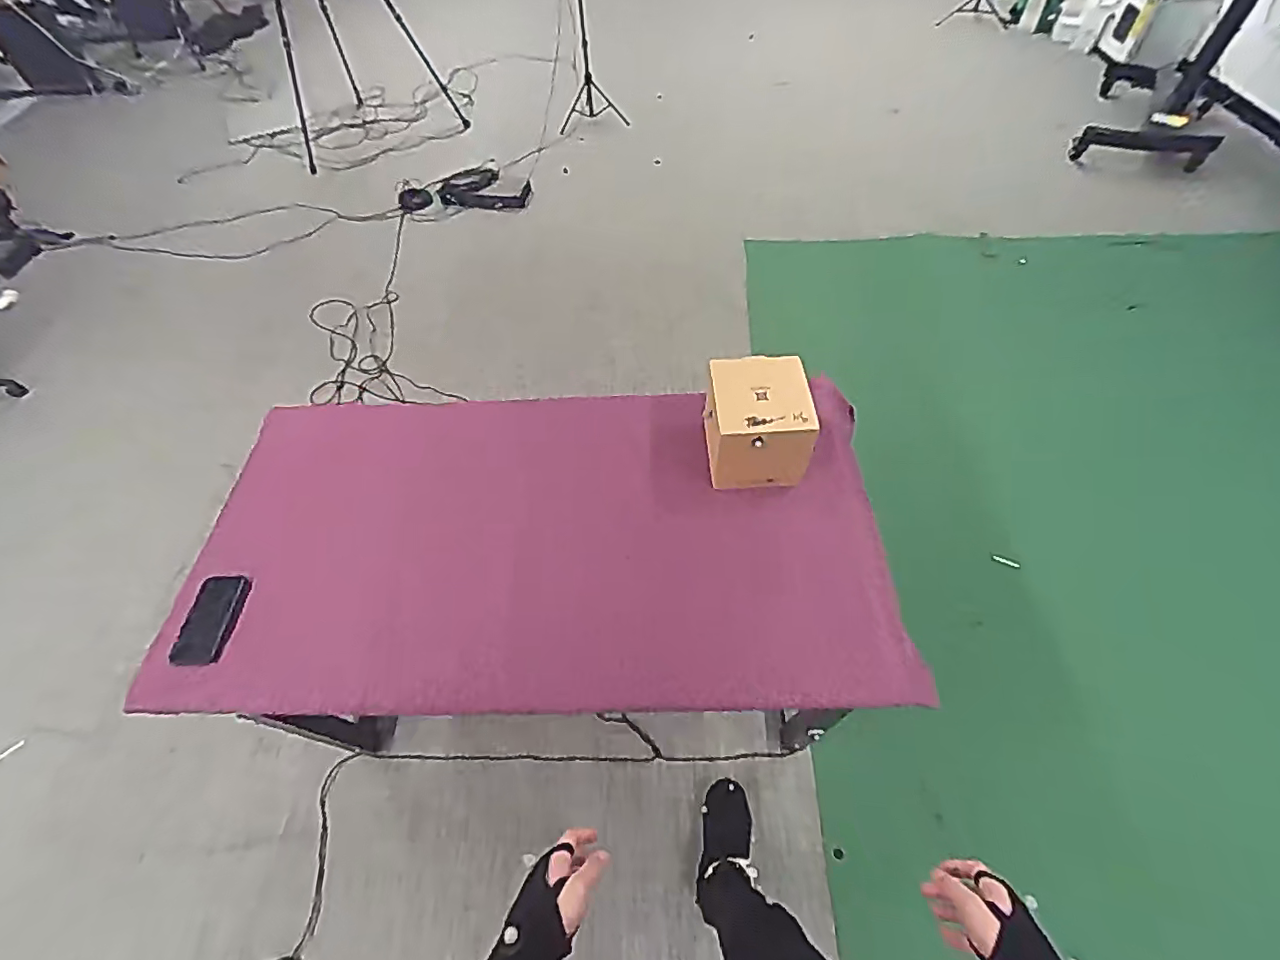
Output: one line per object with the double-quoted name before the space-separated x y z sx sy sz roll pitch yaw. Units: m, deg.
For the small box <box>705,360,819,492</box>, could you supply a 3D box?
"small box" 0.212 -0.096 0.994 0.168 0.176 0.179 -3 55 2
